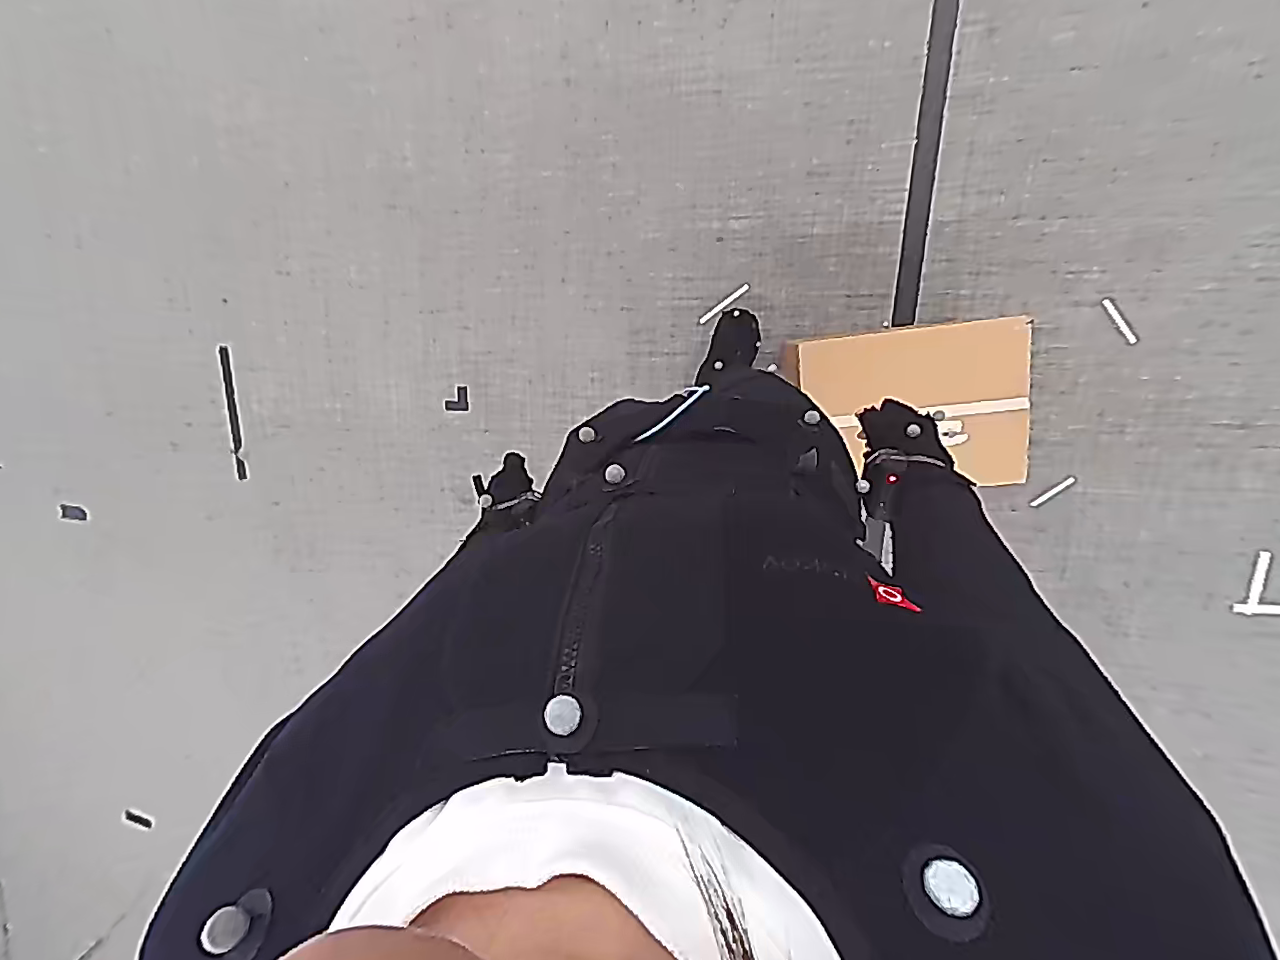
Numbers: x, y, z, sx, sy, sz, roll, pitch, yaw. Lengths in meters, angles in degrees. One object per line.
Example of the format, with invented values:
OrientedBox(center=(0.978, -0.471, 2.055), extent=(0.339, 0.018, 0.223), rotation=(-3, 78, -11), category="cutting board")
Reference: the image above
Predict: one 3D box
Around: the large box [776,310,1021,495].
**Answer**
OrientedBox(center=(0.523, -0.172, 1.170), extent=(0.408, 0.320, 0.320), rotation=(-5, 105, 10), category="large box")
